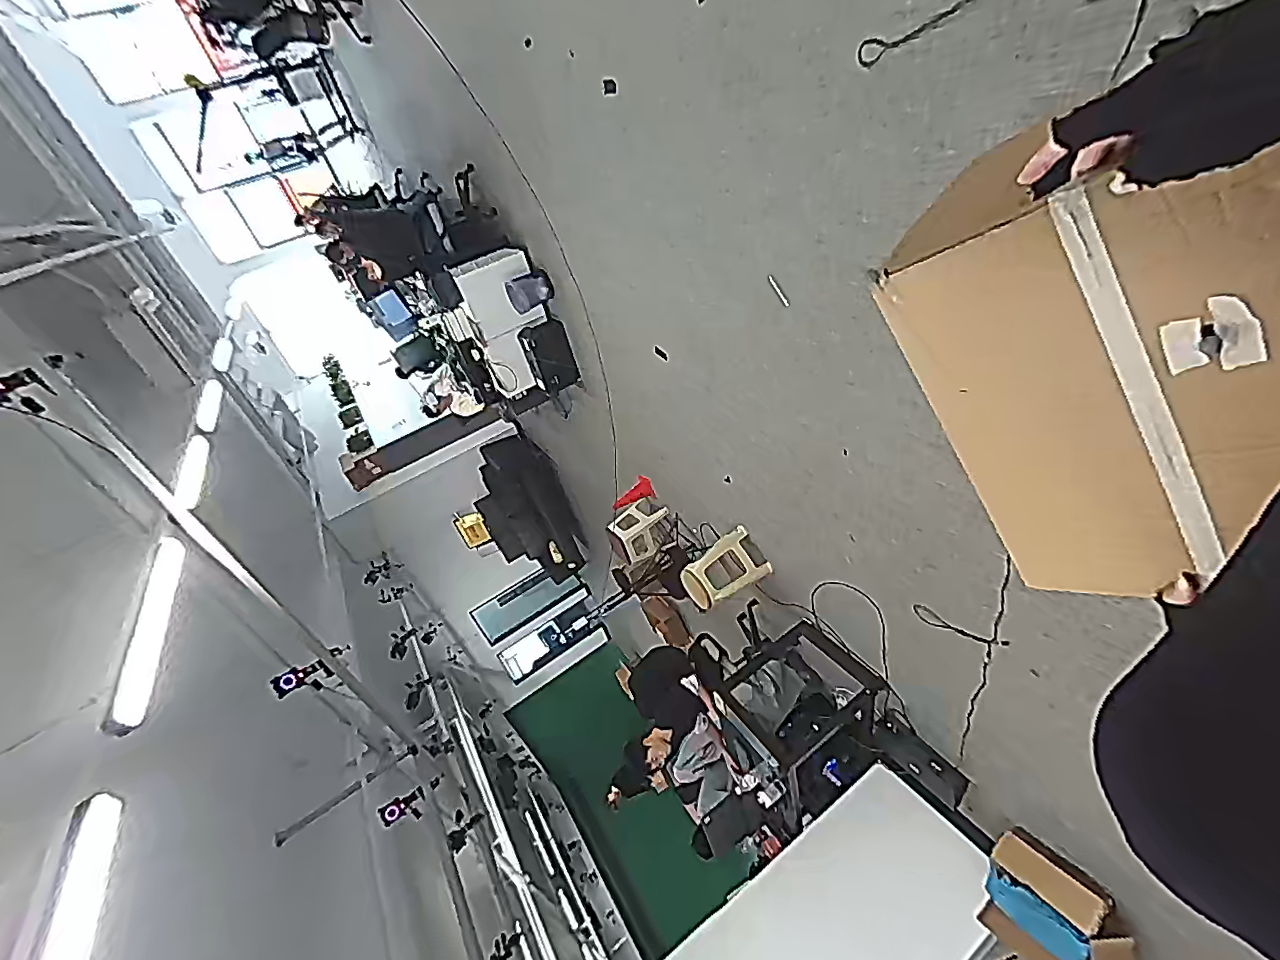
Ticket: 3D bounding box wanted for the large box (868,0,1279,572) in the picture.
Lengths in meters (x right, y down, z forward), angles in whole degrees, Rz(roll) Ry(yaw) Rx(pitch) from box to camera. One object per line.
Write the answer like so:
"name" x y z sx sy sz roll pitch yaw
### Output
"large box" 0.500 -0.167 0.504 0.408 0.320 0.320 53 149 -16
